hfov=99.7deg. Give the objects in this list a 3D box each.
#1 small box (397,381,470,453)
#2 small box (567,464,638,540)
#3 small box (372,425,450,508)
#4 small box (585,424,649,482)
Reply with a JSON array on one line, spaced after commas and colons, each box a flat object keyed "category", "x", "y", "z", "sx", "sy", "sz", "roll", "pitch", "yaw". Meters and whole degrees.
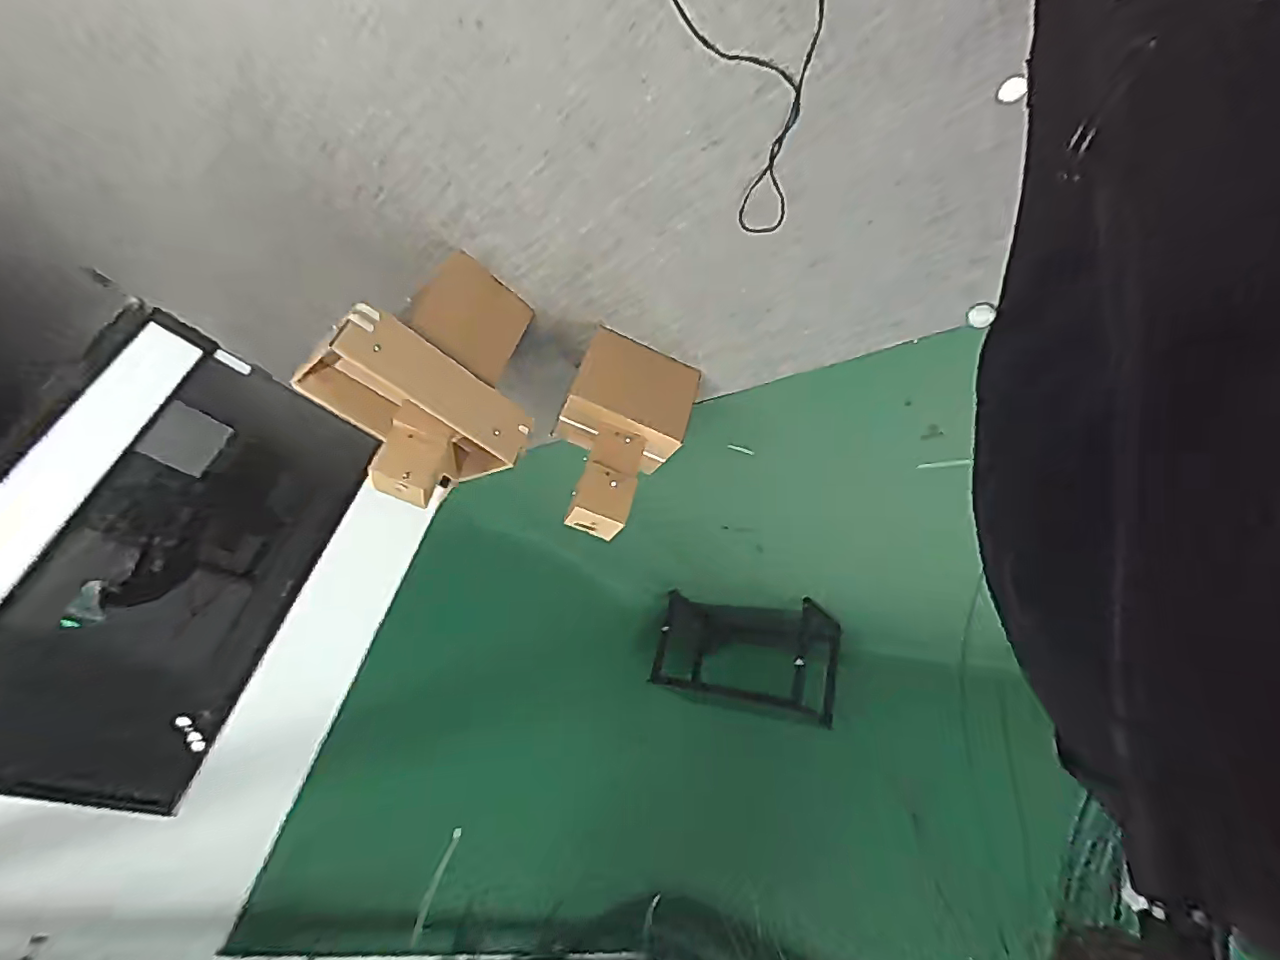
[{"category": "small box", "x": -0.662, "y": -0.187, "z": 1.735, "sx": 0.168, "sy": 0.176, "sz": 0.179, "roll": 26, "pitch": 152, "yaw": -14}, {"category": "small box", "x": -0.122, "y": 0.073, "z": 1.769, "sx": 0.168, "sy": 0.176, "sz": 0.179, "roll": 22, "pitch": 152, "yaw": -11}, {"category": "small box", "x": -0.698, "y": -0.039, "z": 1.672, "sx": 0.168, "sy": 0.176, "sz": 0.179, "roll": 22, "pitch": 153, "yaw": -9}, {"category": "small box", "x": -0.082, "y": -0.062, "z": 1.853, "sx": 0.168, "sy": 0.176, "sz": 0.179, "roll": 20, "pitch": 153, "yaw": -7}]
